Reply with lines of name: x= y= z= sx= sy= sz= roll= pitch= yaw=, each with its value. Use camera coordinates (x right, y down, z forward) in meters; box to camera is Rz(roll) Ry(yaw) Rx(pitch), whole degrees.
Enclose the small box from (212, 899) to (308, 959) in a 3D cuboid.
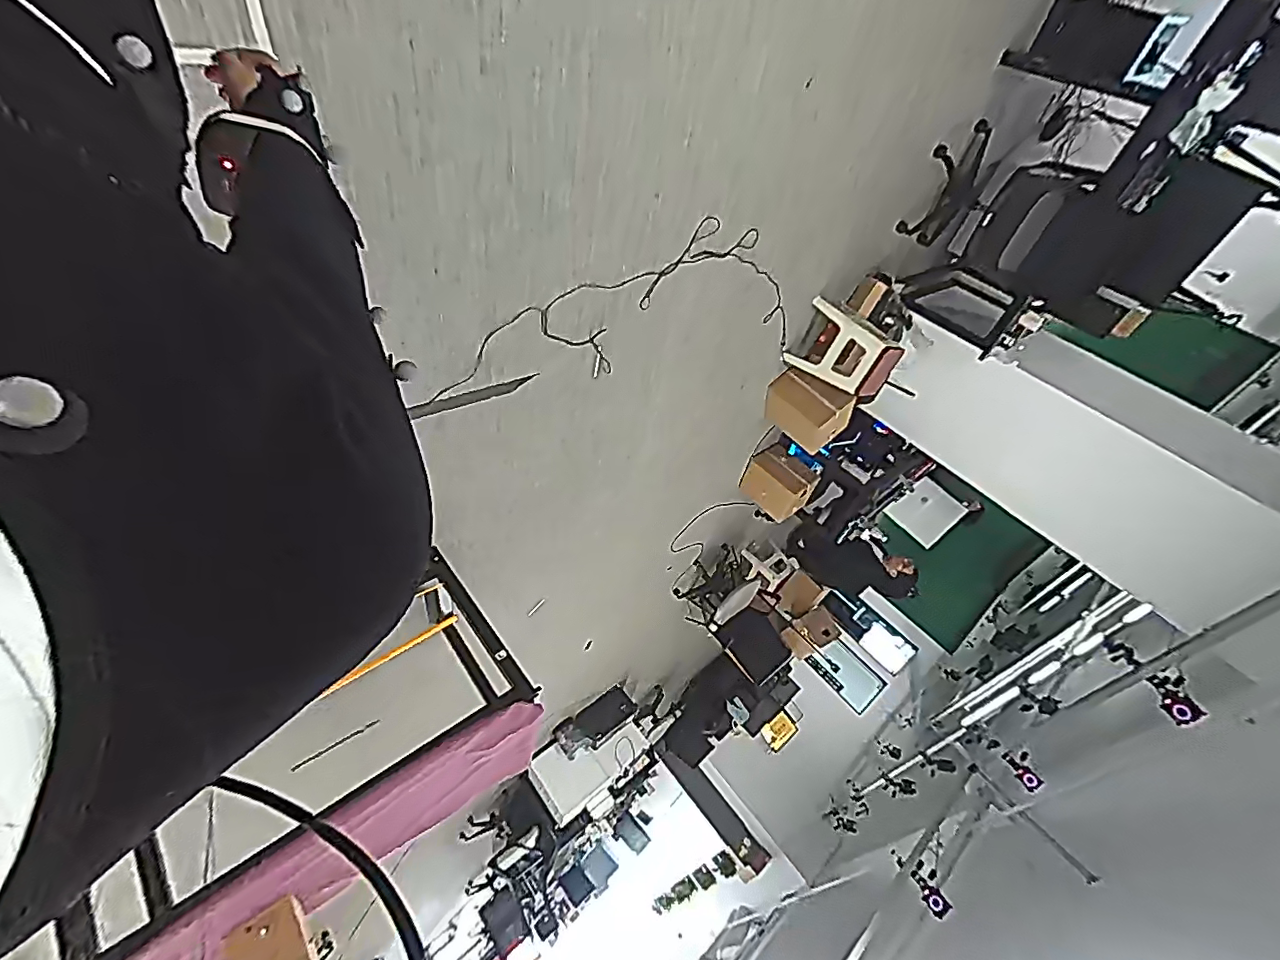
small box: x=-1.030 y=1.296 z=1.476 sx=0.168 sy=0.176 sz=0.179 roll=-23 pitch=145 yaw=-38
